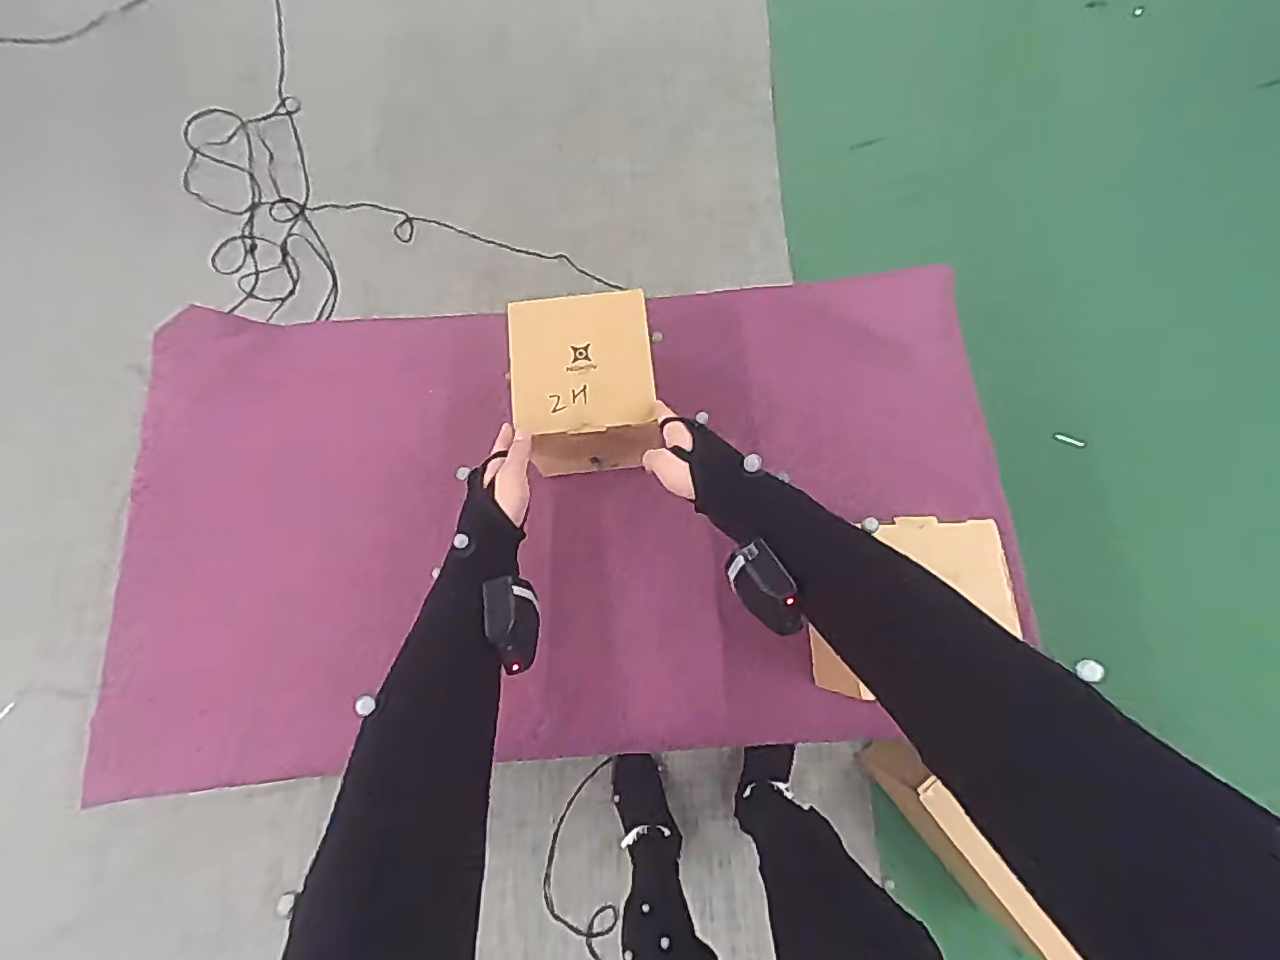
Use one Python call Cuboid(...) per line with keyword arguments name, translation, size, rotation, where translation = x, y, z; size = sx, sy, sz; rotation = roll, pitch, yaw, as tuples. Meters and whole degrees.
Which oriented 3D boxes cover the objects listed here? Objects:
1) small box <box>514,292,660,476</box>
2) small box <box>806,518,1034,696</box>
Cuboid(name="small box", translation=(-0.064, -0.116, 0.707), size=(0.168, 0.176, 0.179), rotation=(-6, 75, 1))
Cuboid(name="small box", translation=(0.297, 0.150, 0.619), size=(0.168, 0.176, 0.179), rotation=(-2, 72, 3))
